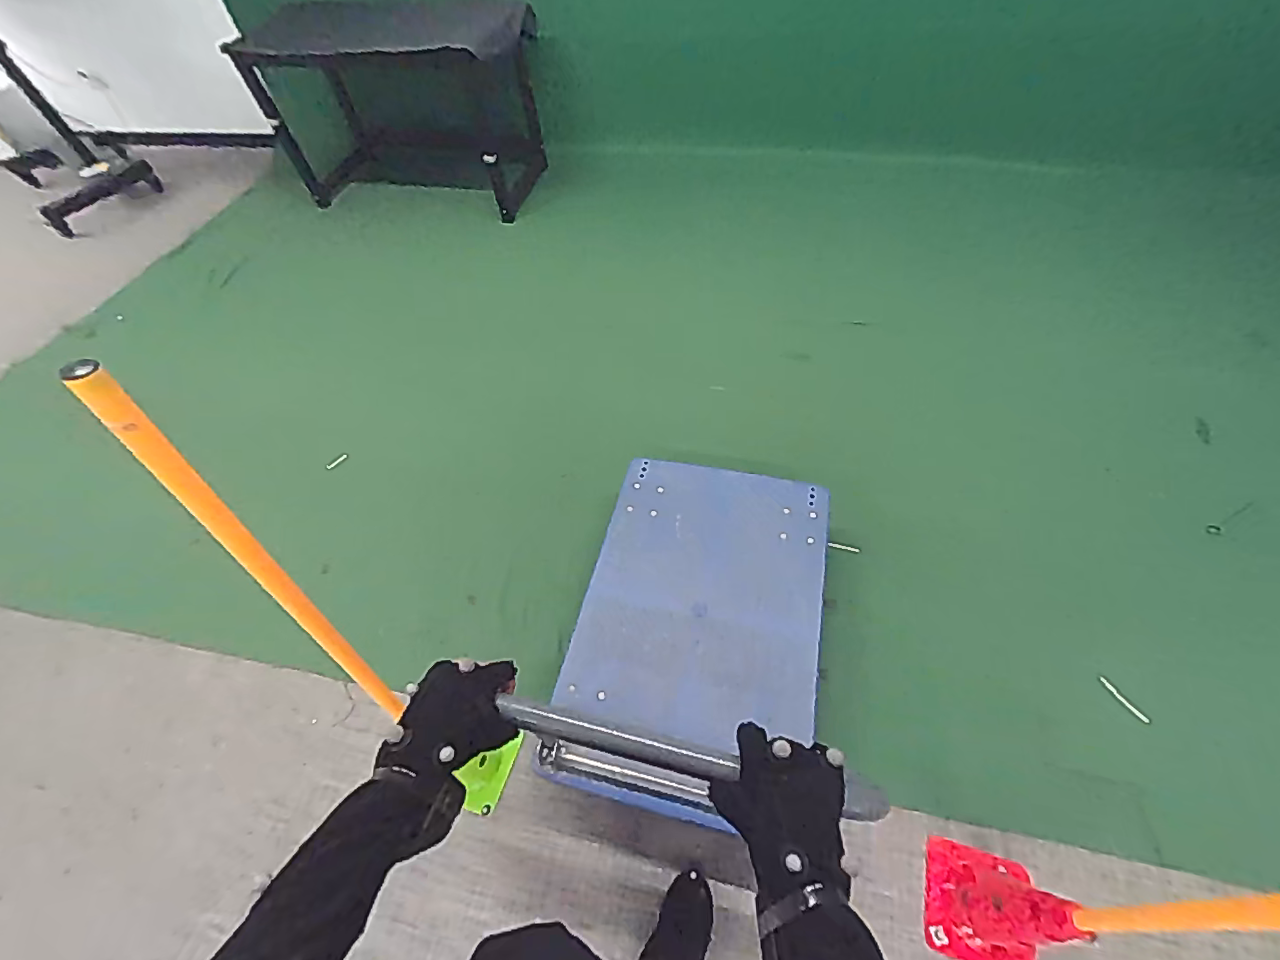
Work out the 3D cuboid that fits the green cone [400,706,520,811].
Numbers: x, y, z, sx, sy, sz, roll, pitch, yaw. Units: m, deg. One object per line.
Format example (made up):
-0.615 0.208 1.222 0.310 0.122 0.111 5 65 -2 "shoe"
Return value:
-0.429 0.578 1.194 0.202 0.368 0.200 12 55 14 "green cone"
